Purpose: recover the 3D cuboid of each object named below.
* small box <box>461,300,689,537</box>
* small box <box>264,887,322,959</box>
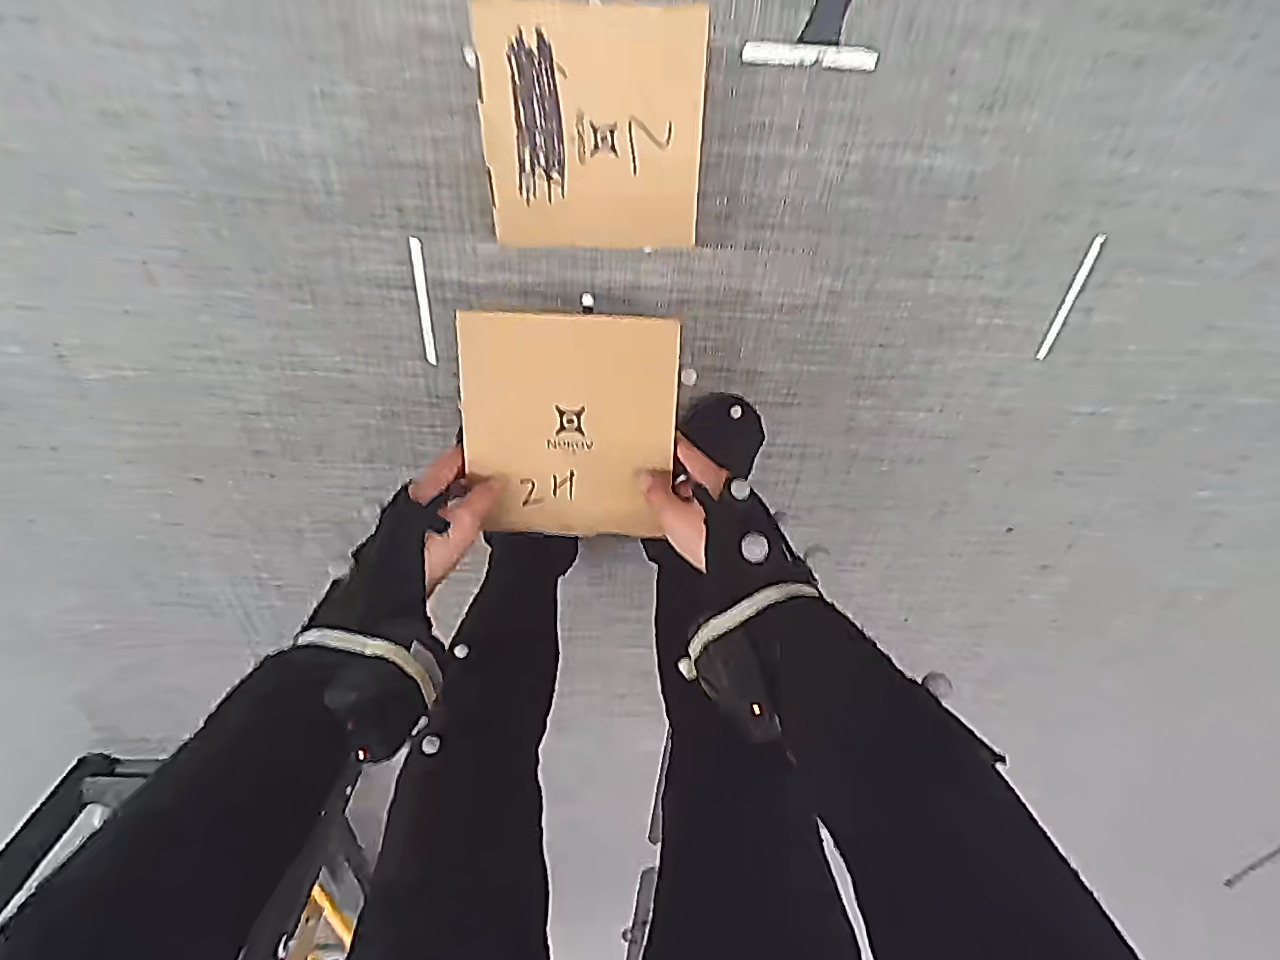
[{"bbox_3d":[-0.052,-0.064,0.484,0.168,0.176,0.179,3,108,-1],"label":"small box"},{"bbox_3d":[-0.866,1.057,1.229,0.179,0.176,0.168,0,124,-5],"label":"small box"}]
